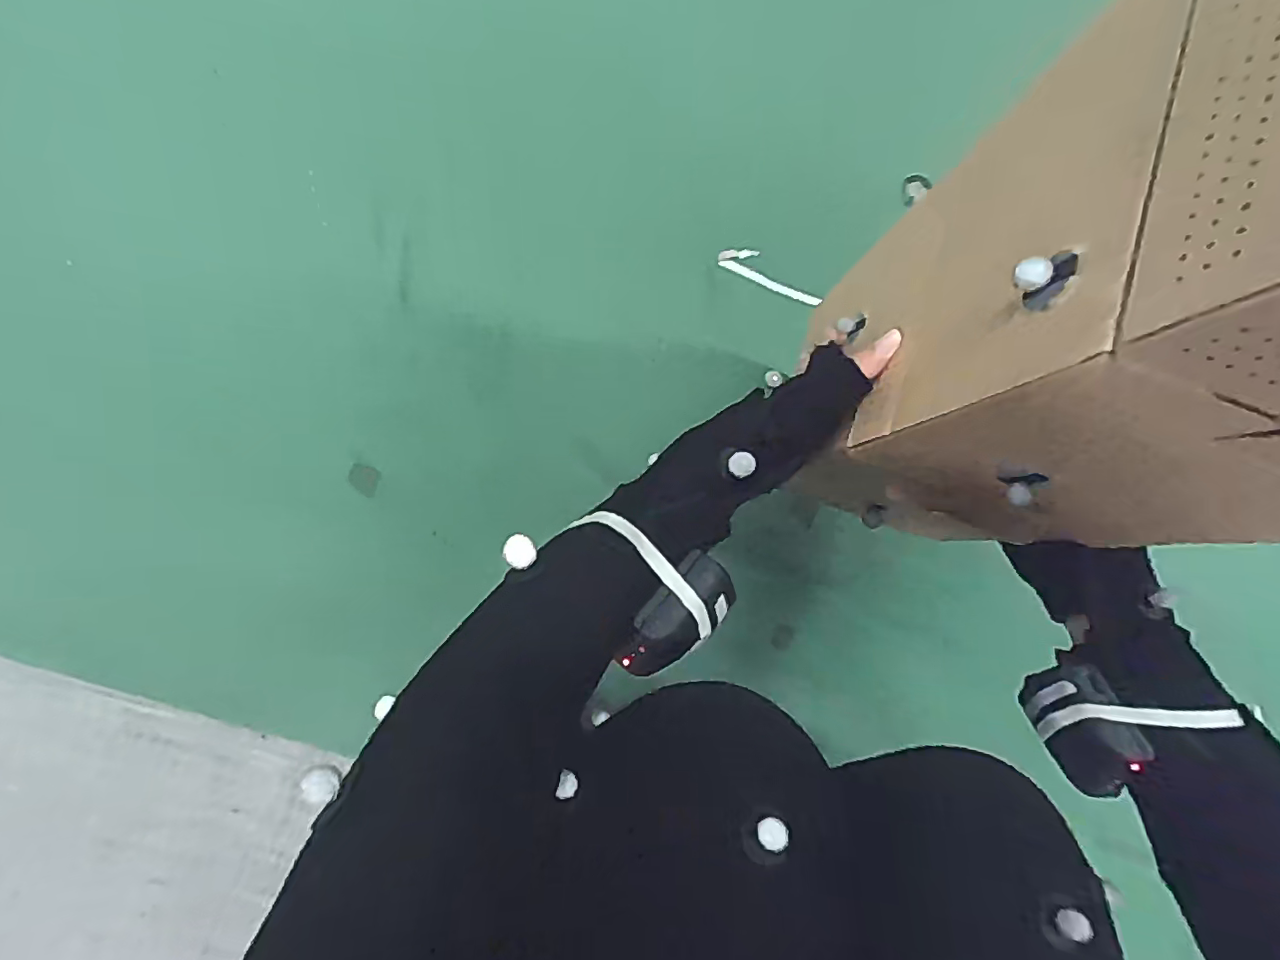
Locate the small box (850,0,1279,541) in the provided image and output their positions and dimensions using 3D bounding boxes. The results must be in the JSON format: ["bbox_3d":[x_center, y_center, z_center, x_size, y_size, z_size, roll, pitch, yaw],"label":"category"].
[{"bbox_3d":[0.231,-0.078,0.266,0.168,0.176,0.179,20,82,-3],"label":"small box"}]

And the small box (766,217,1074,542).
[{"bbox_3d":[0.218,-0.059,0.427,0.168,0.176,0.179,20,82,-2],"label":"small box"}]
